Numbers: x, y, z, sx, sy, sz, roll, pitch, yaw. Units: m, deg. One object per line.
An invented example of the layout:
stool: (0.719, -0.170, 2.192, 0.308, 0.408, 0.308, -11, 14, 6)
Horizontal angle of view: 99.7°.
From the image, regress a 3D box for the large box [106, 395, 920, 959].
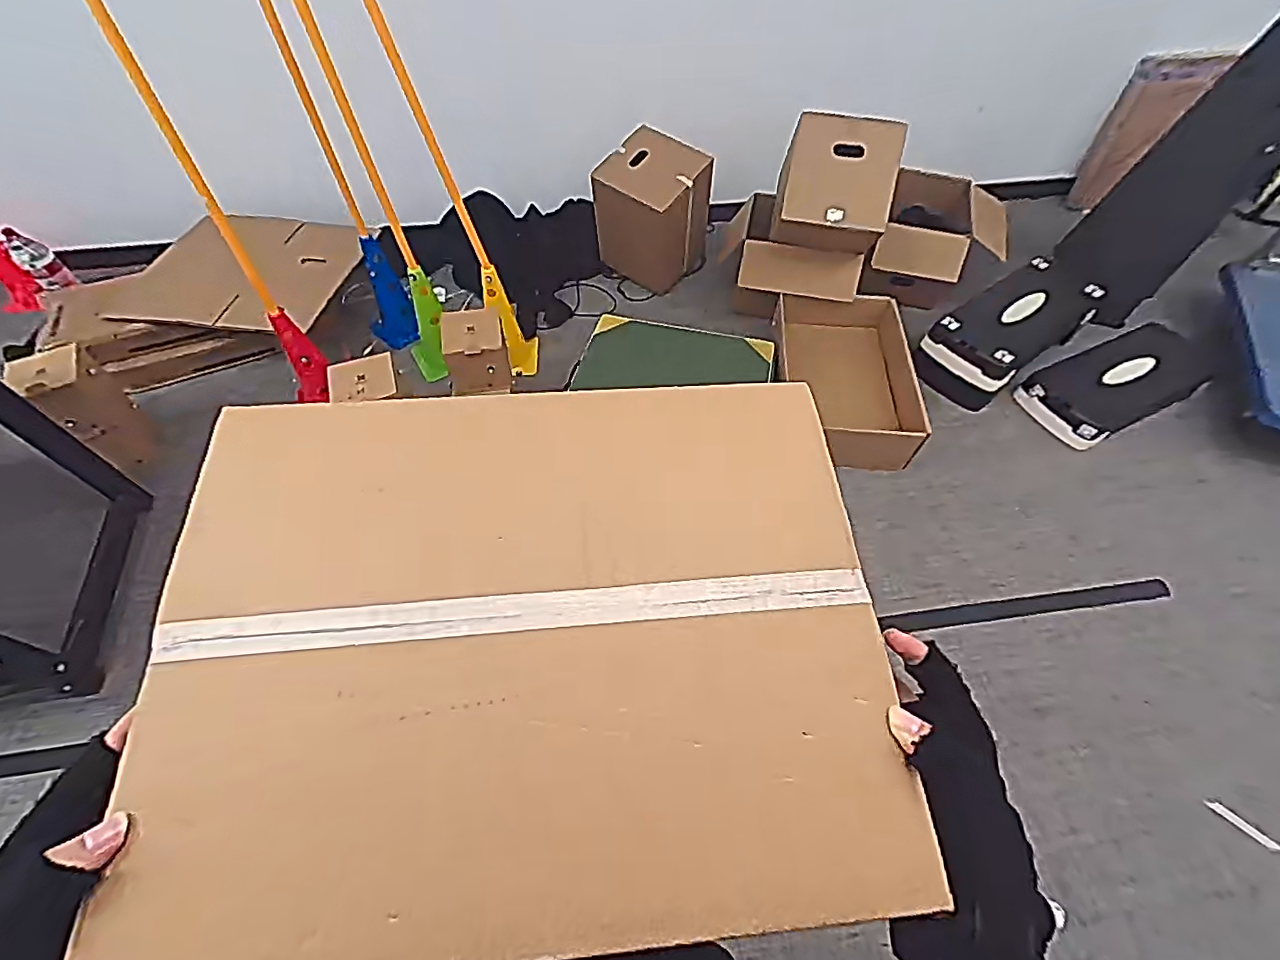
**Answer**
large box: (-0.072, 0.151, 0.461, 0.408, 0.320, 0.320, -3, 64, -5)
